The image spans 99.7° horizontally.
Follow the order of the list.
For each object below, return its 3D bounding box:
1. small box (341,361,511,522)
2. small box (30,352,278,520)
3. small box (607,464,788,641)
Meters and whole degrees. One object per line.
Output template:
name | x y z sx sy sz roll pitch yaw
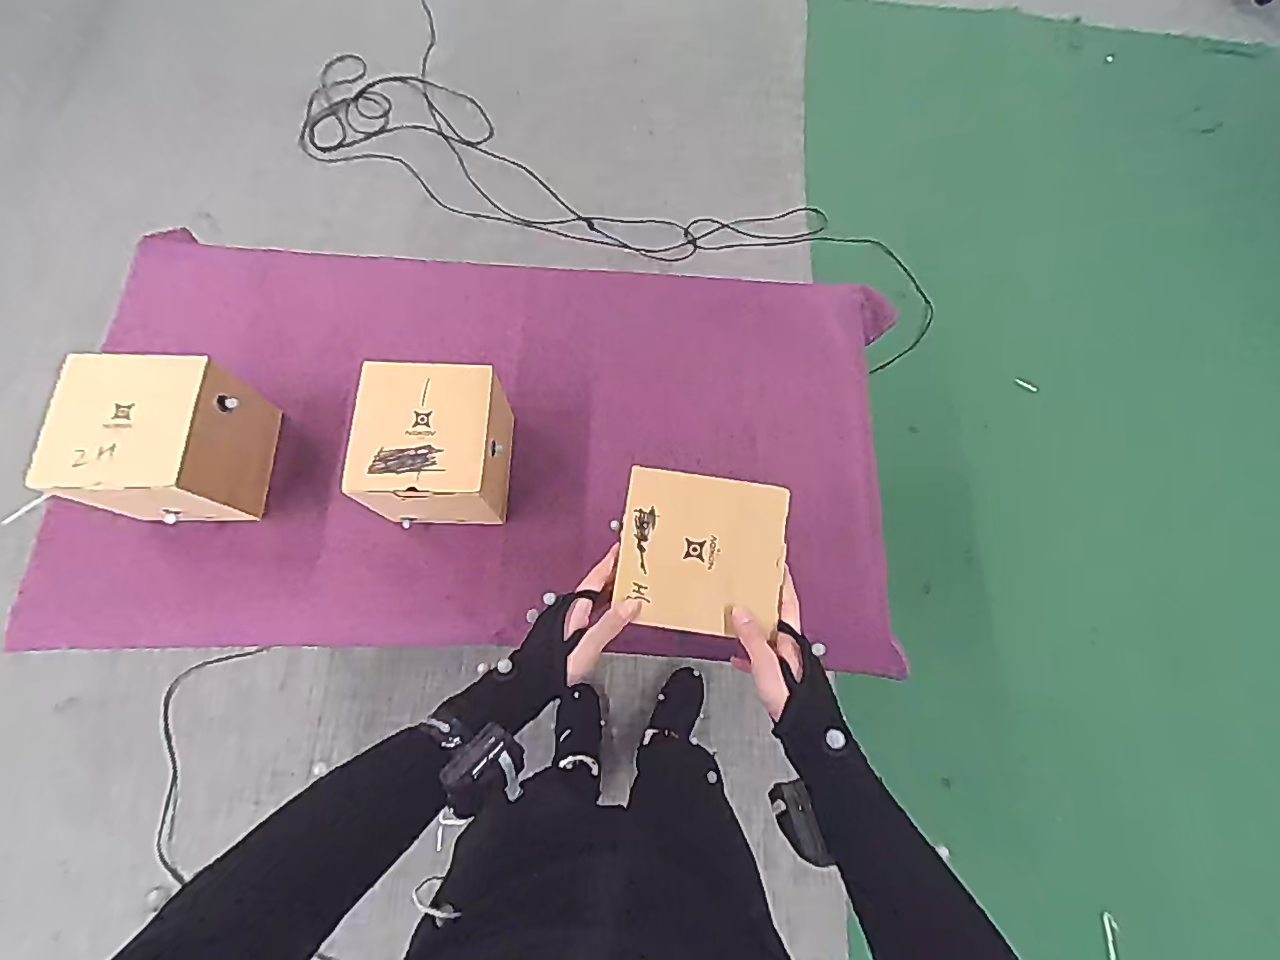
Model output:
small box | -0.278 -0.043 0.746 0.168 0.176 0.179 2 72 -3
small box | -0.624 -0.051 0.725 0.168 0.176 0.179 1 73 -3
small box | 0.060 0.091 0.647 0.179 0.176 0.168 9 76 0
